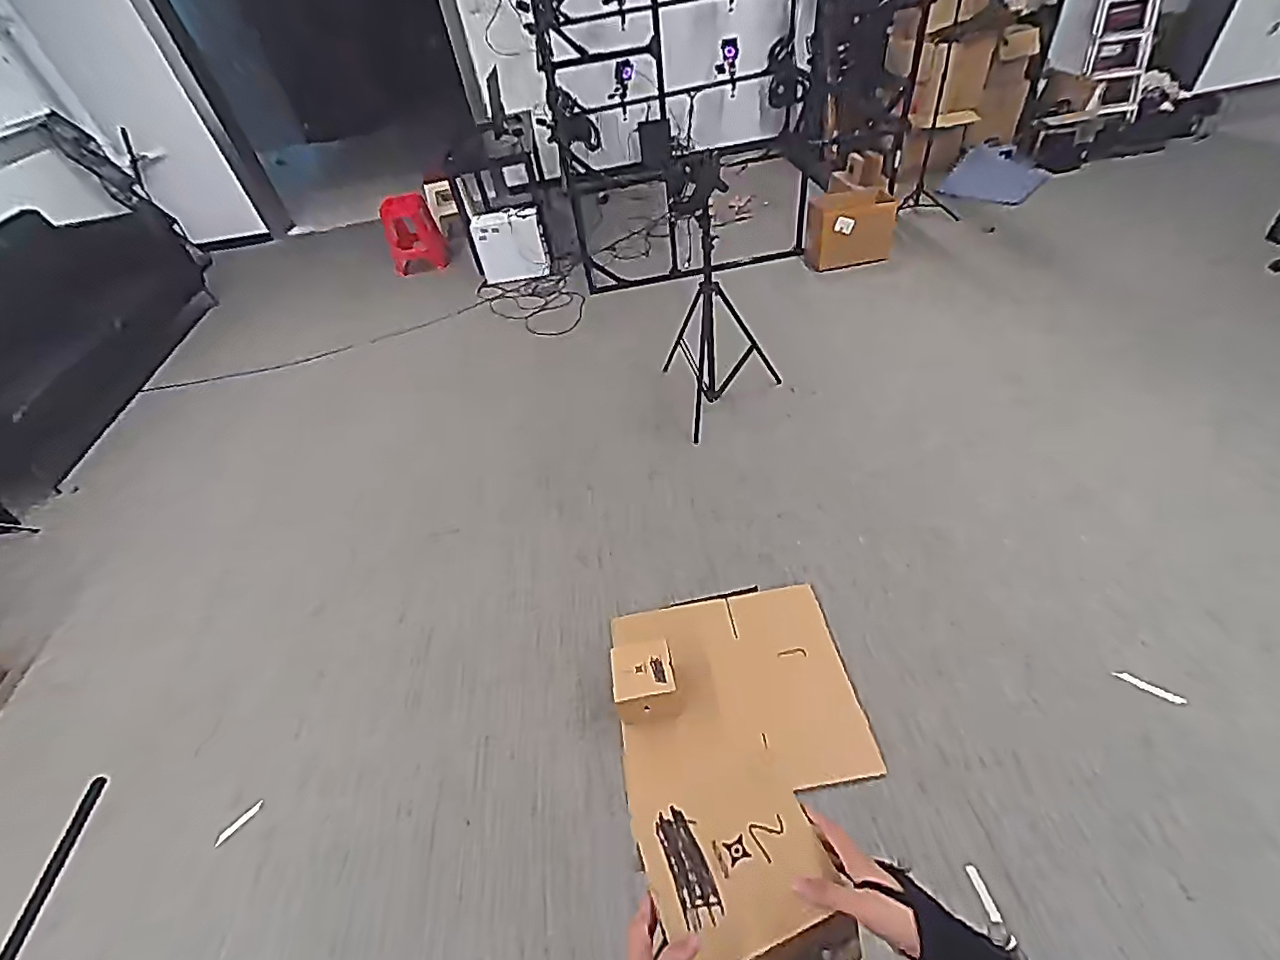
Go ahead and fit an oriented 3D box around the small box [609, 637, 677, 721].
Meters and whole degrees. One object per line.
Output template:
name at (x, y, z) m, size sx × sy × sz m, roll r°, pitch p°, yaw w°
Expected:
small box at (0.013, 0.593, 1.605) m, size 0.179 × 0.176 × 0.168 m, roll -11°, pitch 45°, yaw 1°
